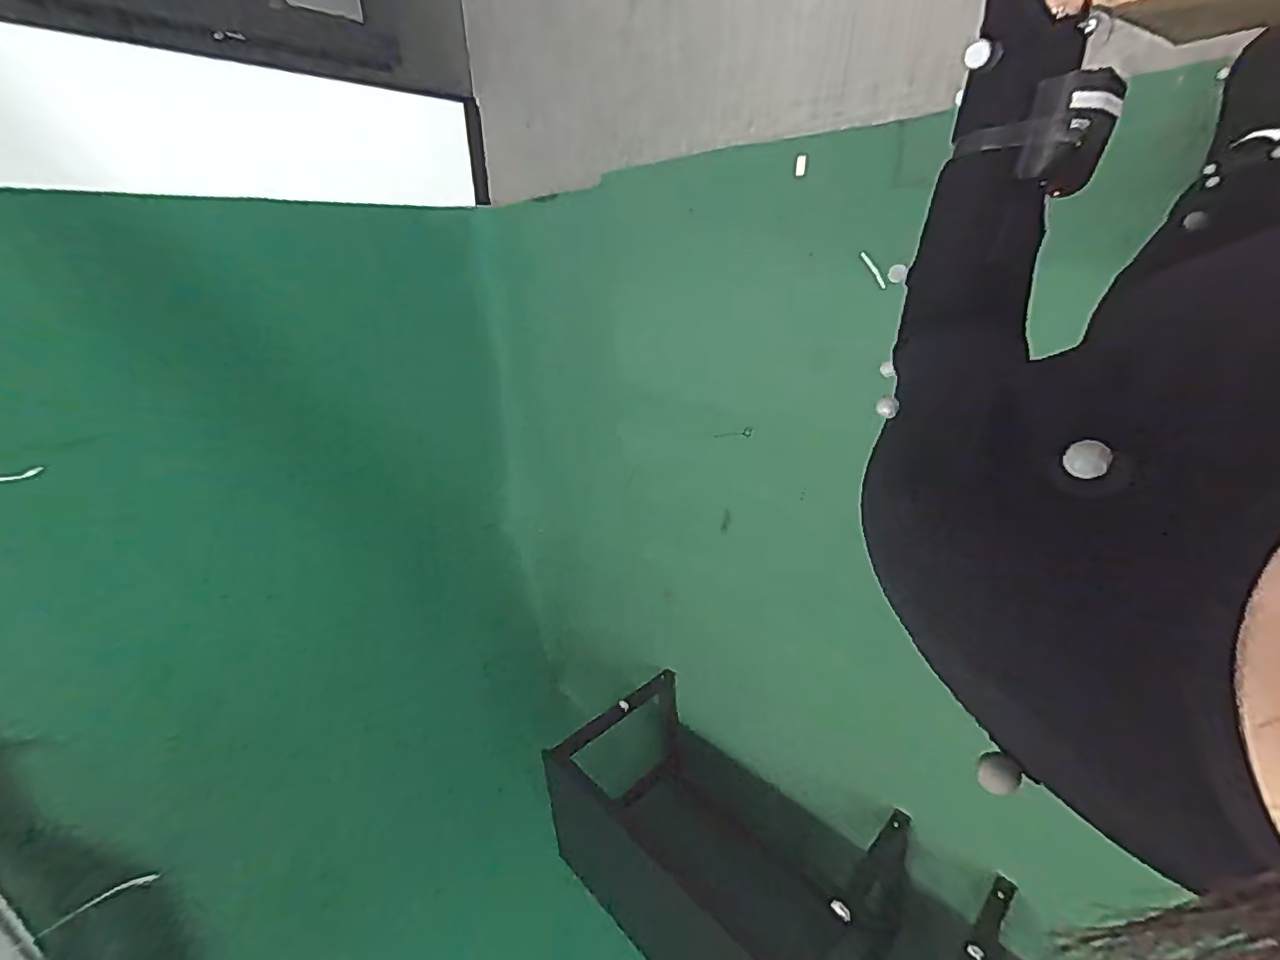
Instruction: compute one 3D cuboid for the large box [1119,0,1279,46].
[{"bbox_3d":[0.519,-0.449,0.232,0.408,0.320,0.320,19,127,43],"label":"large box"}]
